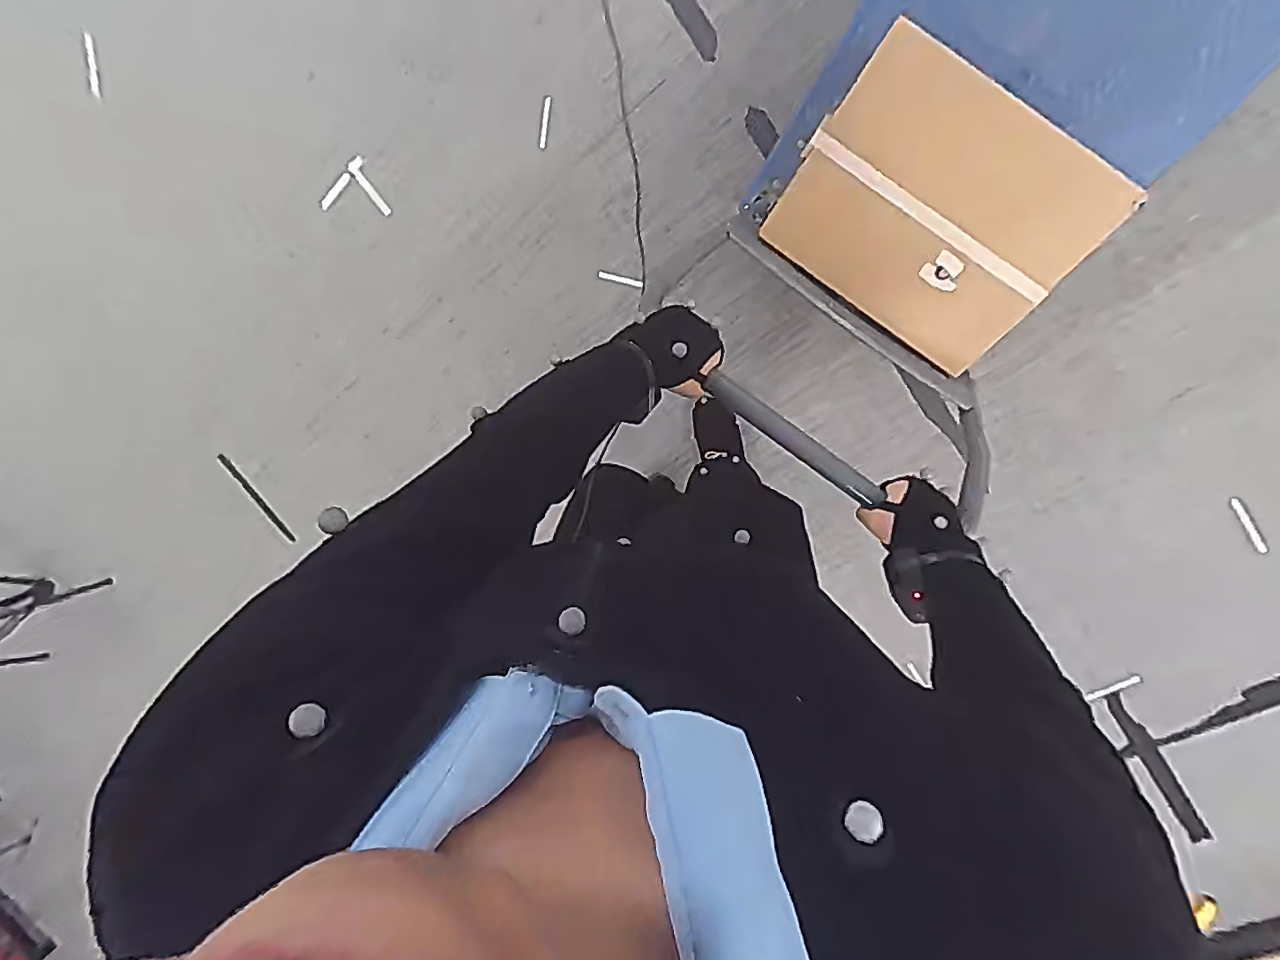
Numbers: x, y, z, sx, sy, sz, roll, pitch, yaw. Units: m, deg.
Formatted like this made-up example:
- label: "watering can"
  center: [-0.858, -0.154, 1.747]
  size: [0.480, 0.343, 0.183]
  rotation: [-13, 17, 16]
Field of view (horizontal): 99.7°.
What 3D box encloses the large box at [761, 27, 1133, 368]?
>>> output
- label: "large box"
  center: [0.479, -0.468, 0.931]
  size: [0.408, 0.320, 0.320]
  rotation: [36, 127, -1]
